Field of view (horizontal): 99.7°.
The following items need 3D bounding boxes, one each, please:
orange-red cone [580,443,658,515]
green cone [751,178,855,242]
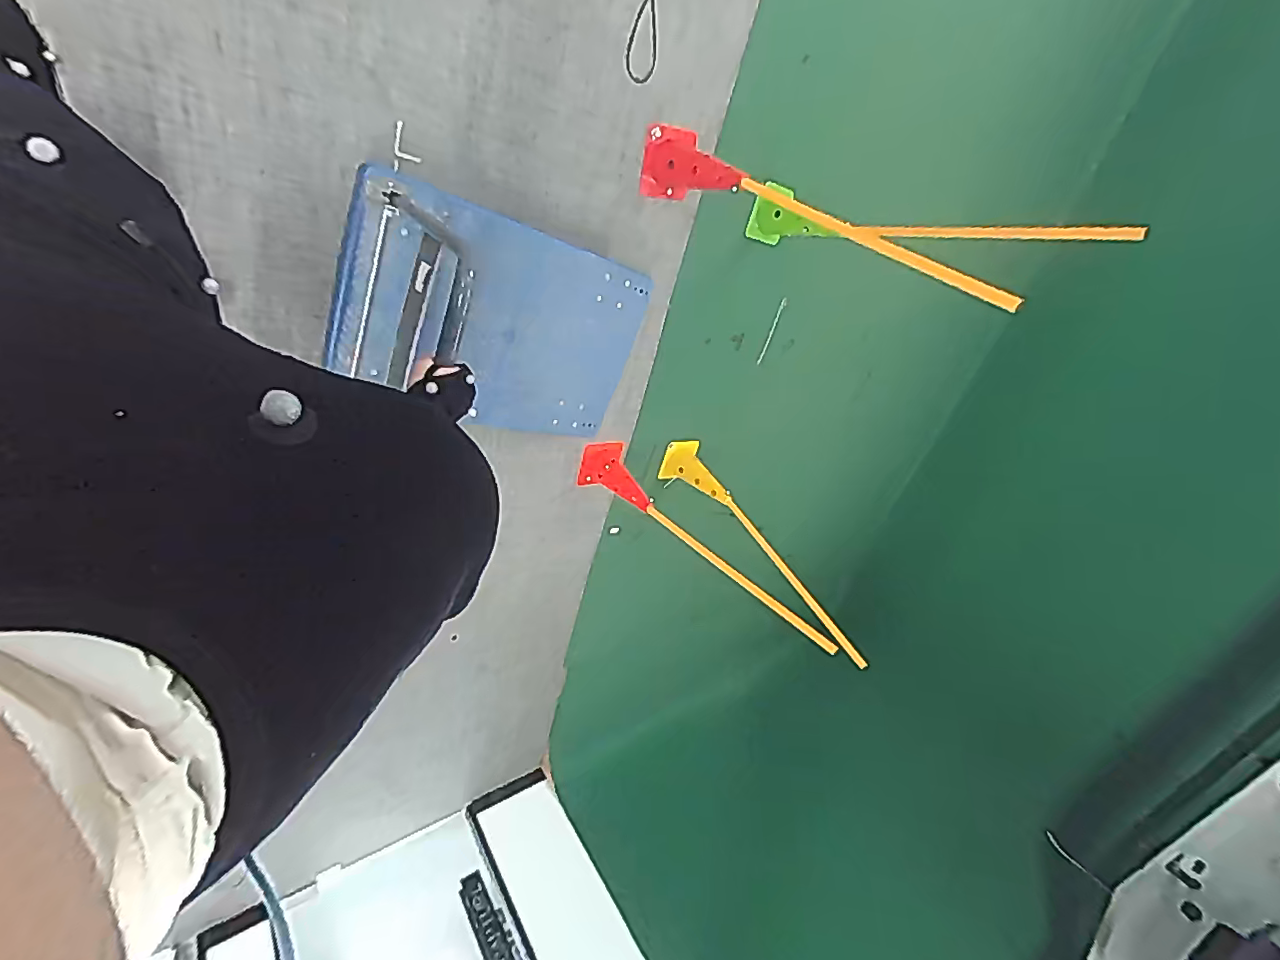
[{"bbox_3d":[-0.048,0.023,2.151,0.199,0.360,0.198,-8,127,-40],"label":"orange-red cone"},{"bbox_3d":[0.616,-0.946,1.966,0.202,0.368,0.200,-8,125,-40],"label":"green cone"}]
